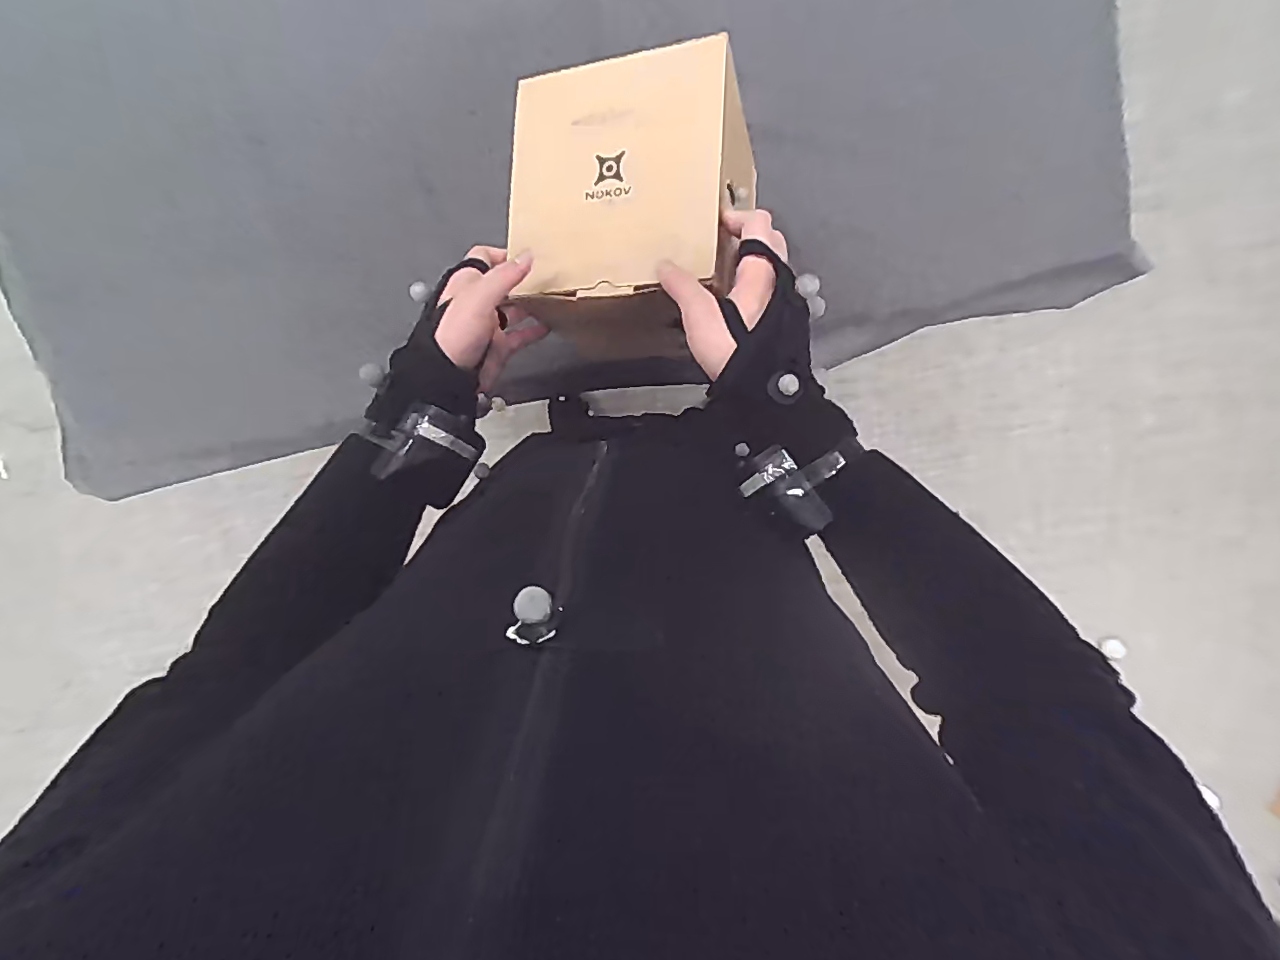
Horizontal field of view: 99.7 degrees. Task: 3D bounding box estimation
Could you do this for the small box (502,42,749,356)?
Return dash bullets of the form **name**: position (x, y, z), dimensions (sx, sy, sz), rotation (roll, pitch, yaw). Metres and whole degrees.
- **small box**: position (0.001, -0.211, 0.466), dimensions (0.168, 0.176, 0.179), rotation (2, 86, 18)
